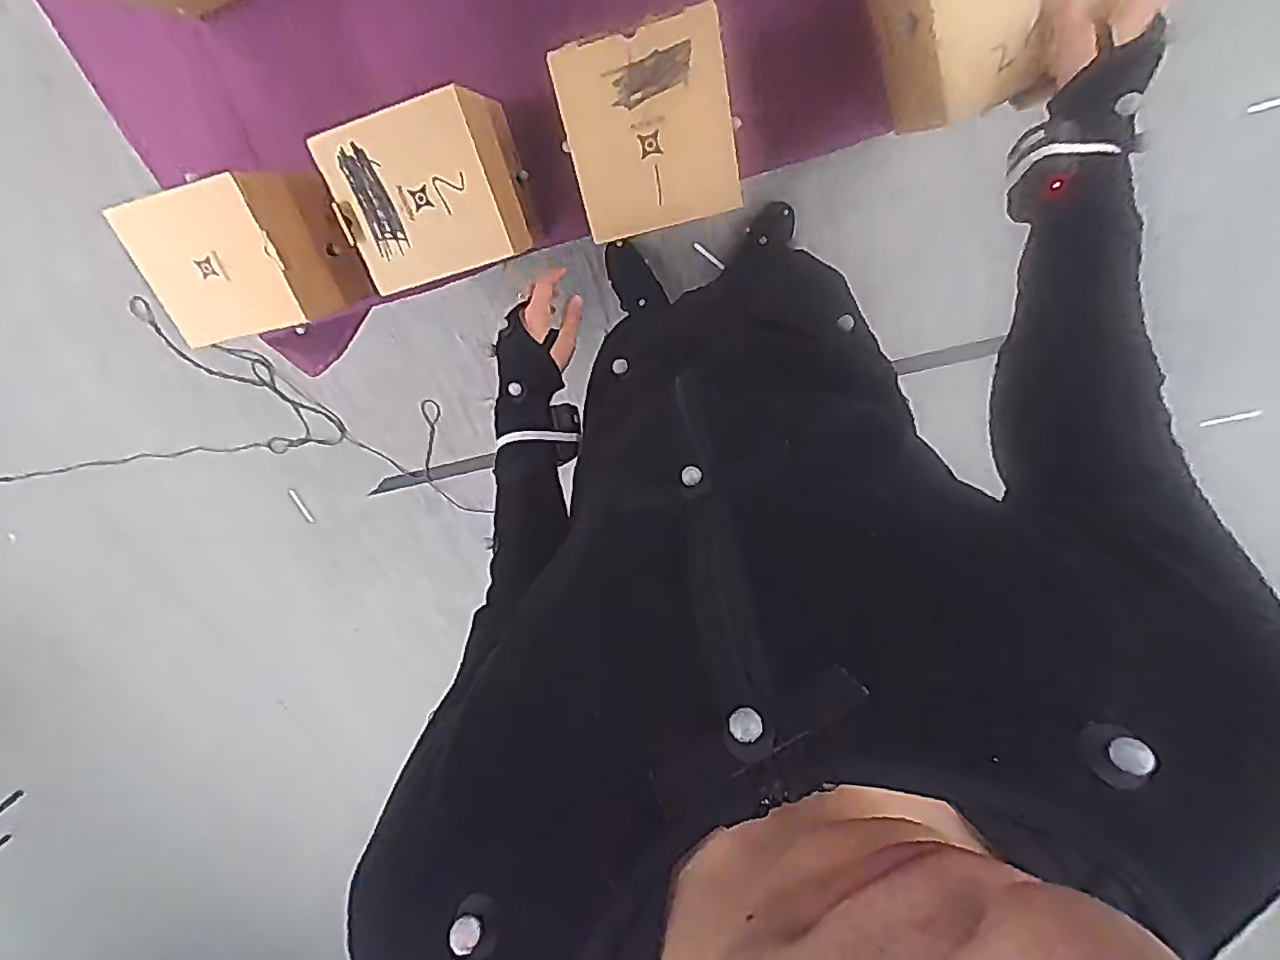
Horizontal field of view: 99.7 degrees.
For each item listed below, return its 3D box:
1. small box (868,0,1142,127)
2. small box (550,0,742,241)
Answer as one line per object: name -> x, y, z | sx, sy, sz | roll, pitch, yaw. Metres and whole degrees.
small box -> 0.337, -0.478, 0.529 | 0.168, 0.176, 0.179 | -19, 117, 17
small box -> 0.015, -0.388, 0.607 | 0.168, 0.176, 0.179 | -9, 121, 10
